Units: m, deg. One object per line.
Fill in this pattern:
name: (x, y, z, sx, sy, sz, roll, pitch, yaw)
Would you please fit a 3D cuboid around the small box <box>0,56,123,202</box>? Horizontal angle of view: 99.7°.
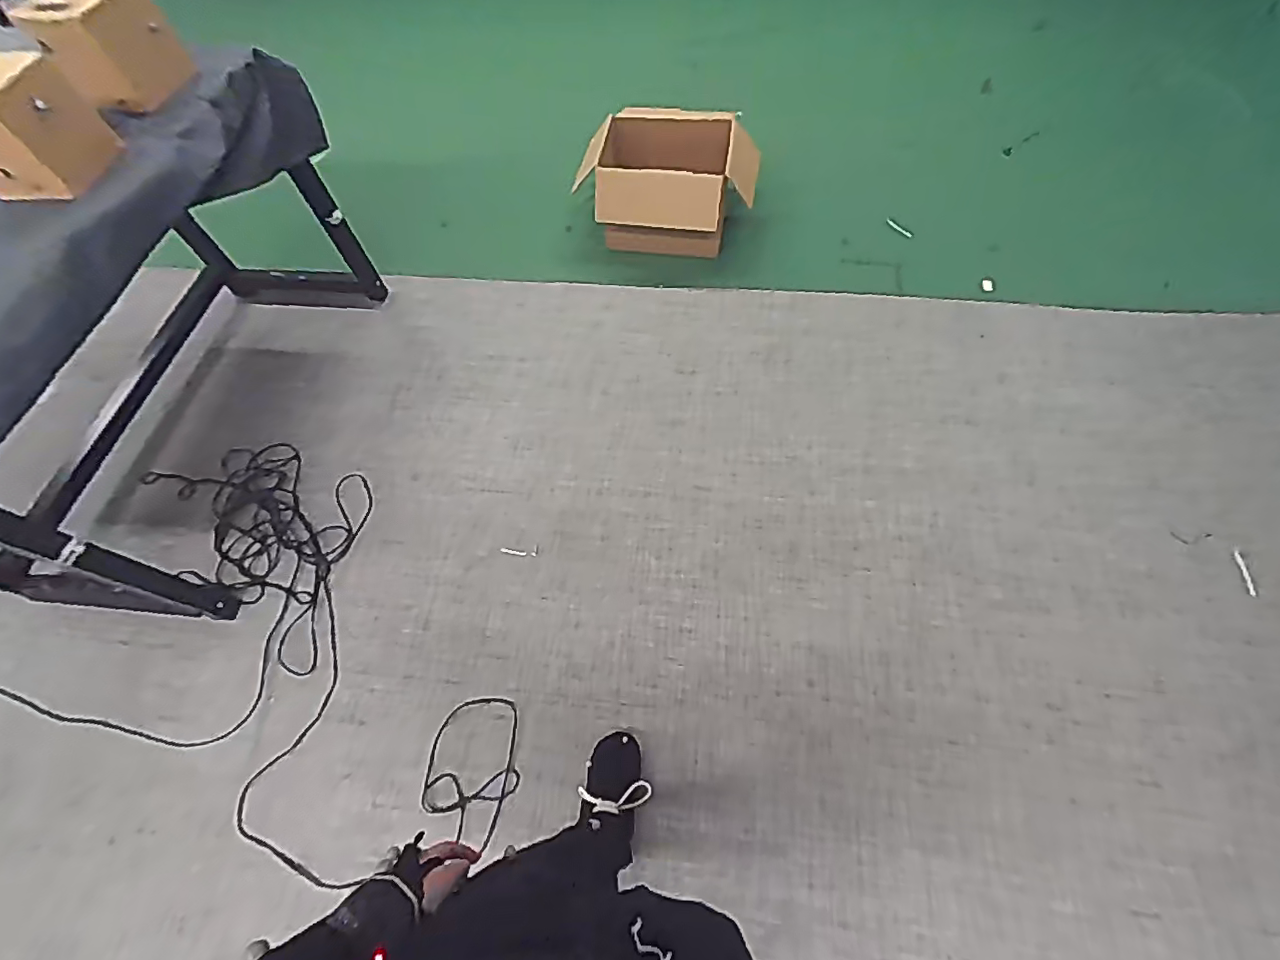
small box: (-1.133, -0.647, 1.001, 0.168, 0.176, 0.179, 2, 62, 5)
